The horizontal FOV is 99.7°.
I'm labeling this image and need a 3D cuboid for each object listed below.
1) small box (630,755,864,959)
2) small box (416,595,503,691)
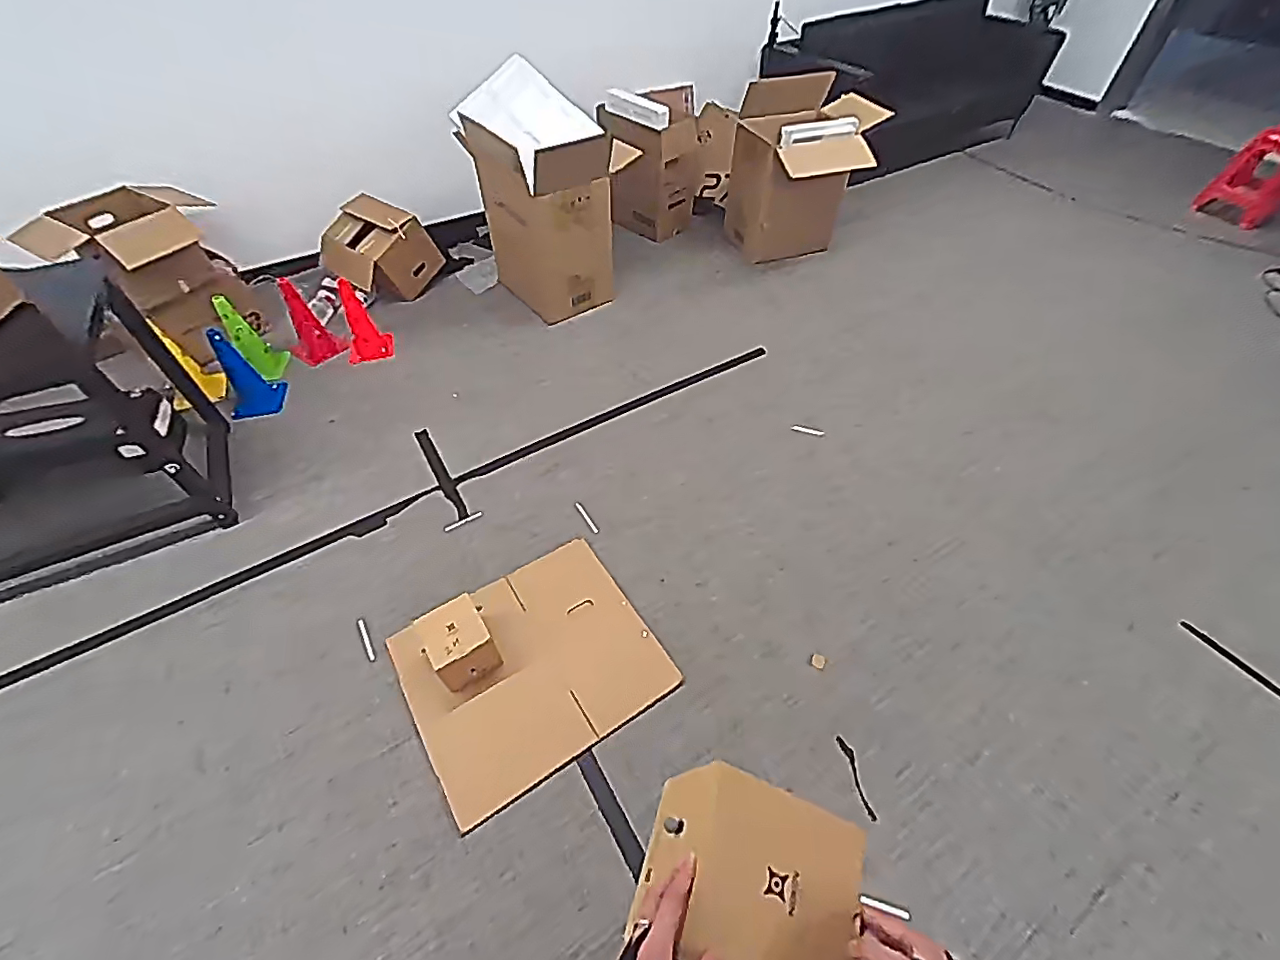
[{"bbox_3d":[0.107,0.423,0.573,0.179,0.176,0.168,26,51,-3],"label":"small box"},{"bbox_3d":[-0.519,0.474,1.566,0.168,0.176,0.179,-28,56,-21],"label":"small box"}]
